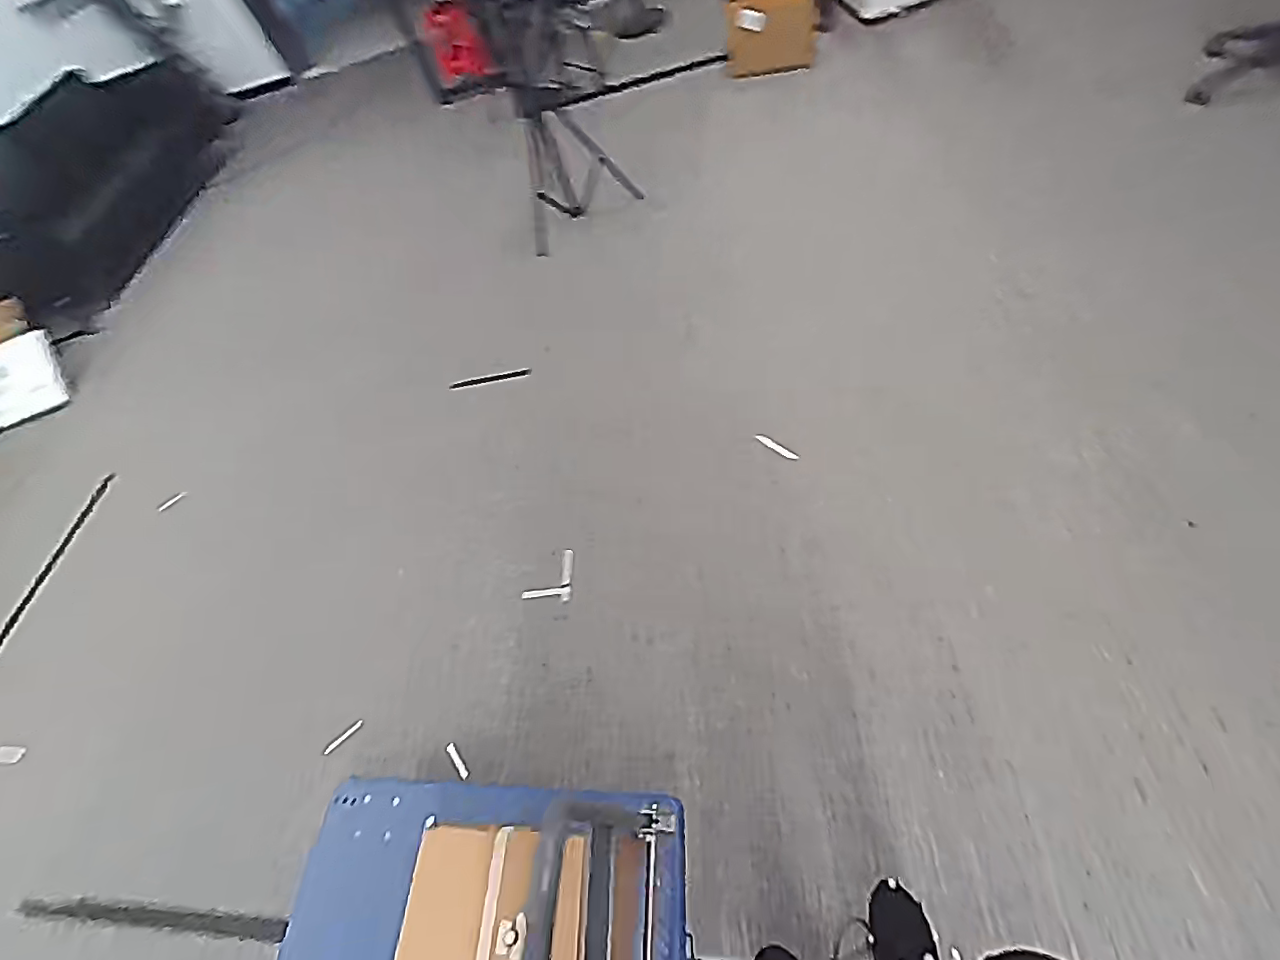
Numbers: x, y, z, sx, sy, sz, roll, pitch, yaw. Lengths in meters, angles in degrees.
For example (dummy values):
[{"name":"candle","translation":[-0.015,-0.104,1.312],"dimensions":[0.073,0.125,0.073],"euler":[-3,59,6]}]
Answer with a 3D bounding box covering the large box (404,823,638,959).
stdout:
[{"name":"large box","translation":[-0.196,0.849,0.940],"dimensions":[0.320,0.320,0.408],"euler":[-5,55,13]}]
